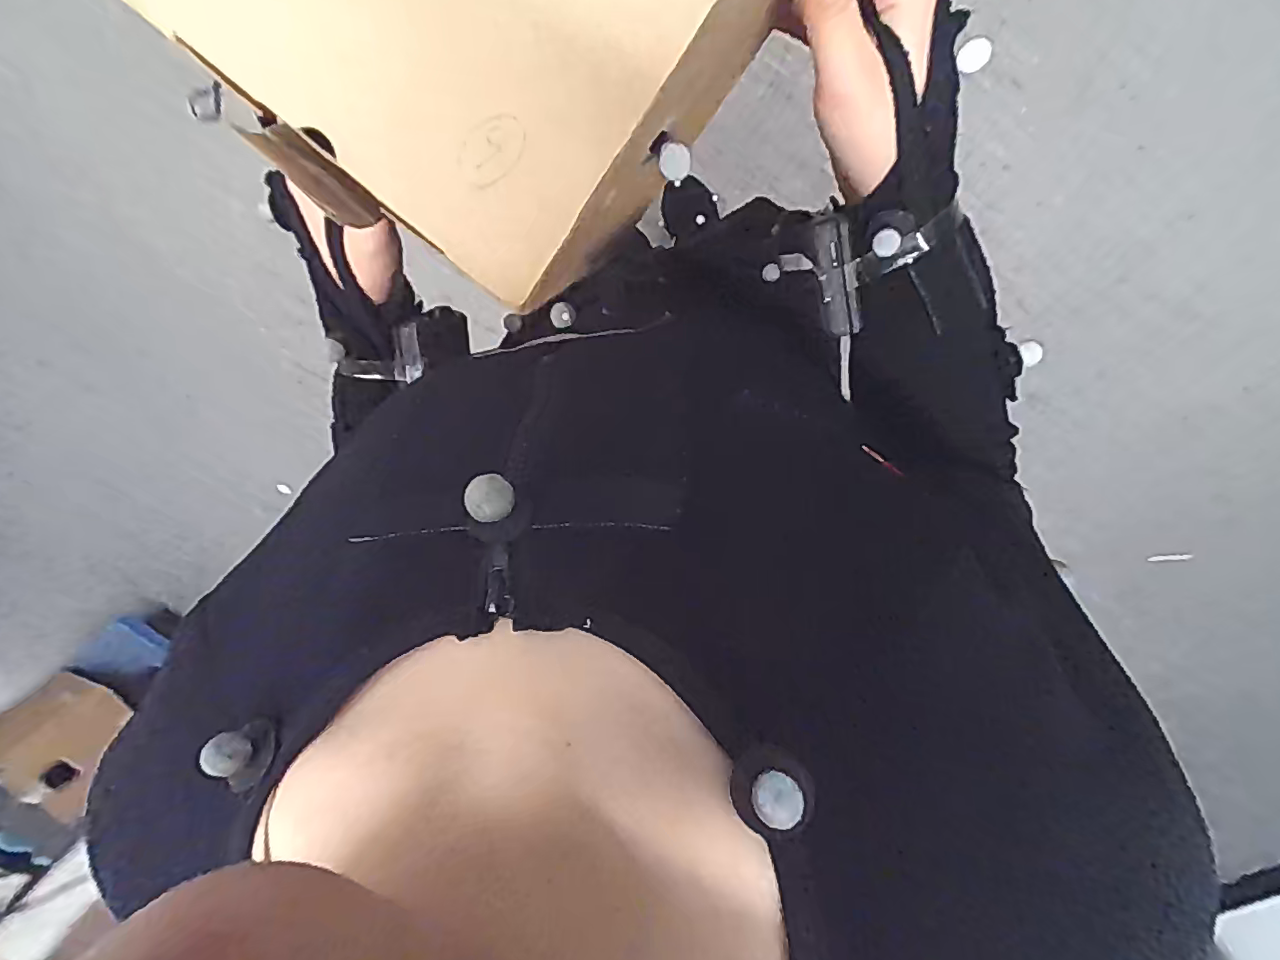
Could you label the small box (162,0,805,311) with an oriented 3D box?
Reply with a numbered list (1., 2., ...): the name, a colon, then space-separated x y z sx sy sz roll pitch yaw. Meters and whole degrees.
1. small box: -0.035 -0.205 0.226 0.168 0.176 0.179 38 118 -12
